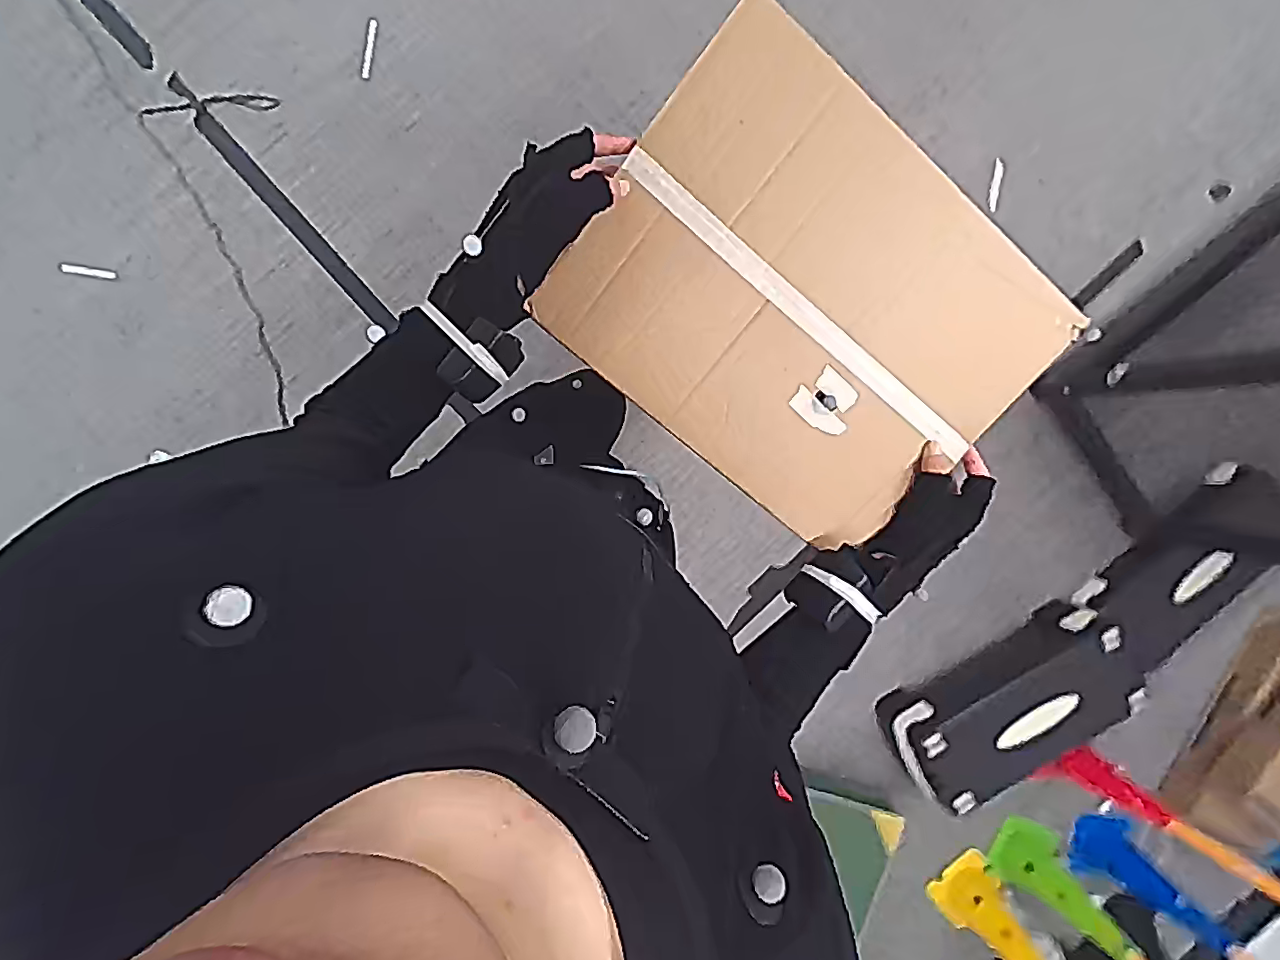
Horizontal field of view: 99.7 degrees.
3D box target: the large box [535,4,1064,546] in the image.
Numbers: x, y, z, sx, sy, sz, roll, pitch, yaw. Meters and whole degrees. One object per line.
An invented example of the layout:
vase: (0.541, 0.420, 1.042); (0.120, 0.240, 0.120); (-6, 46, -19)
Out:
large box: (0.145, -0.198, 0.643); (0.408, 0.320, 0.320); (37, 102, -10)
